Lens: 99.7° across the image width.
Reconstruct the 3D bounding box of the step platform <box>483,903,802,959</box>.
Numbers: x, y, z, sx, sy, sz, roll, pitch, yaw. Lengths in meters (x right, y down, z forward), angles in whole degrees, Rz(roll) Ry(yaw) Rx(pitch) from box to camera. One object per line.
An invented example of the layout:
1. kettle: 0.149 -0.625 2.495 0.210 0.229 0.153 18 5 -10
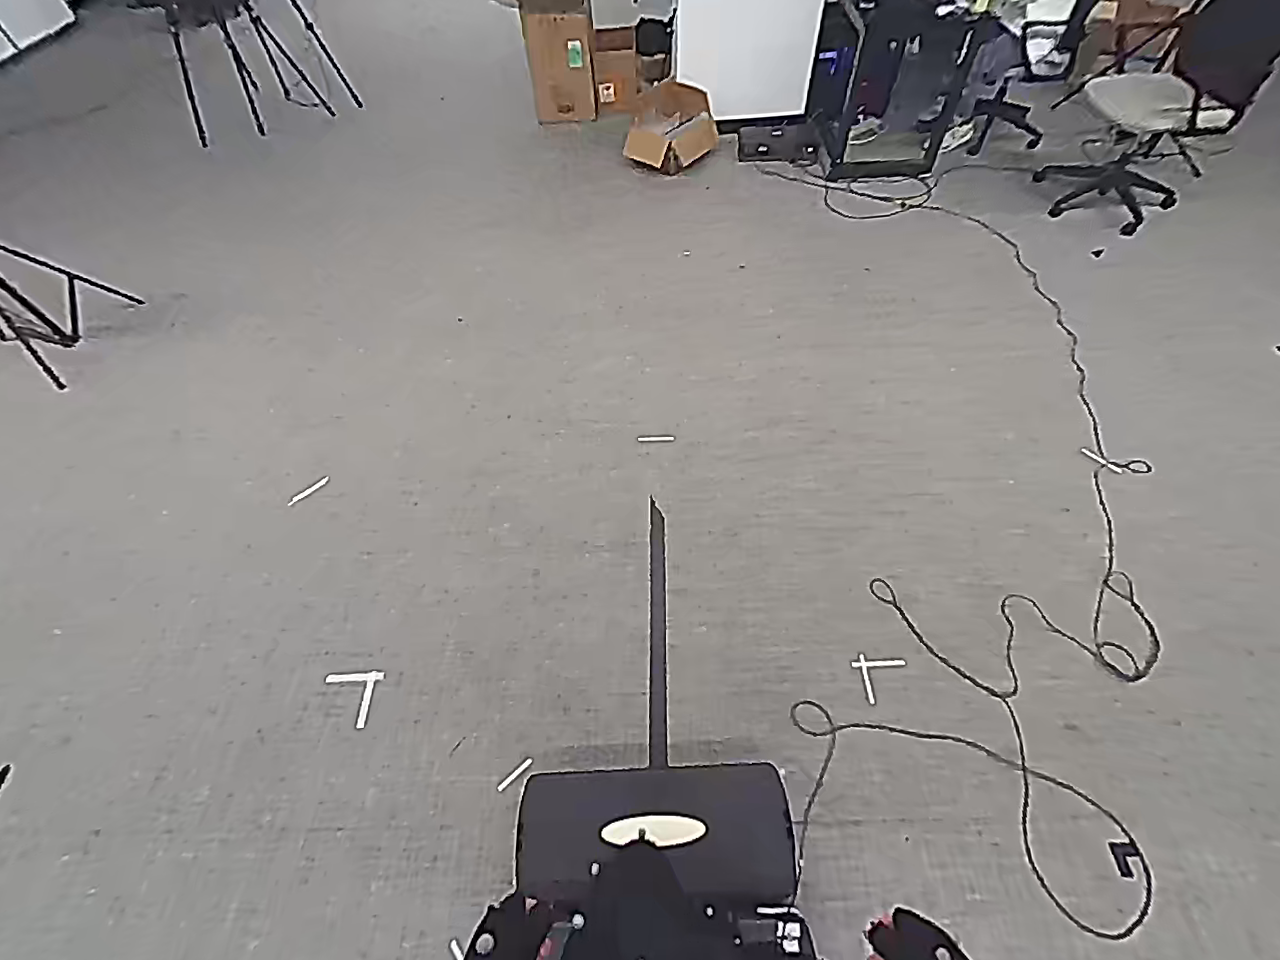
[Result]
1. step platform: 0.007 1.081 1.132 0.684 0.204 0.286 -4 55 2
